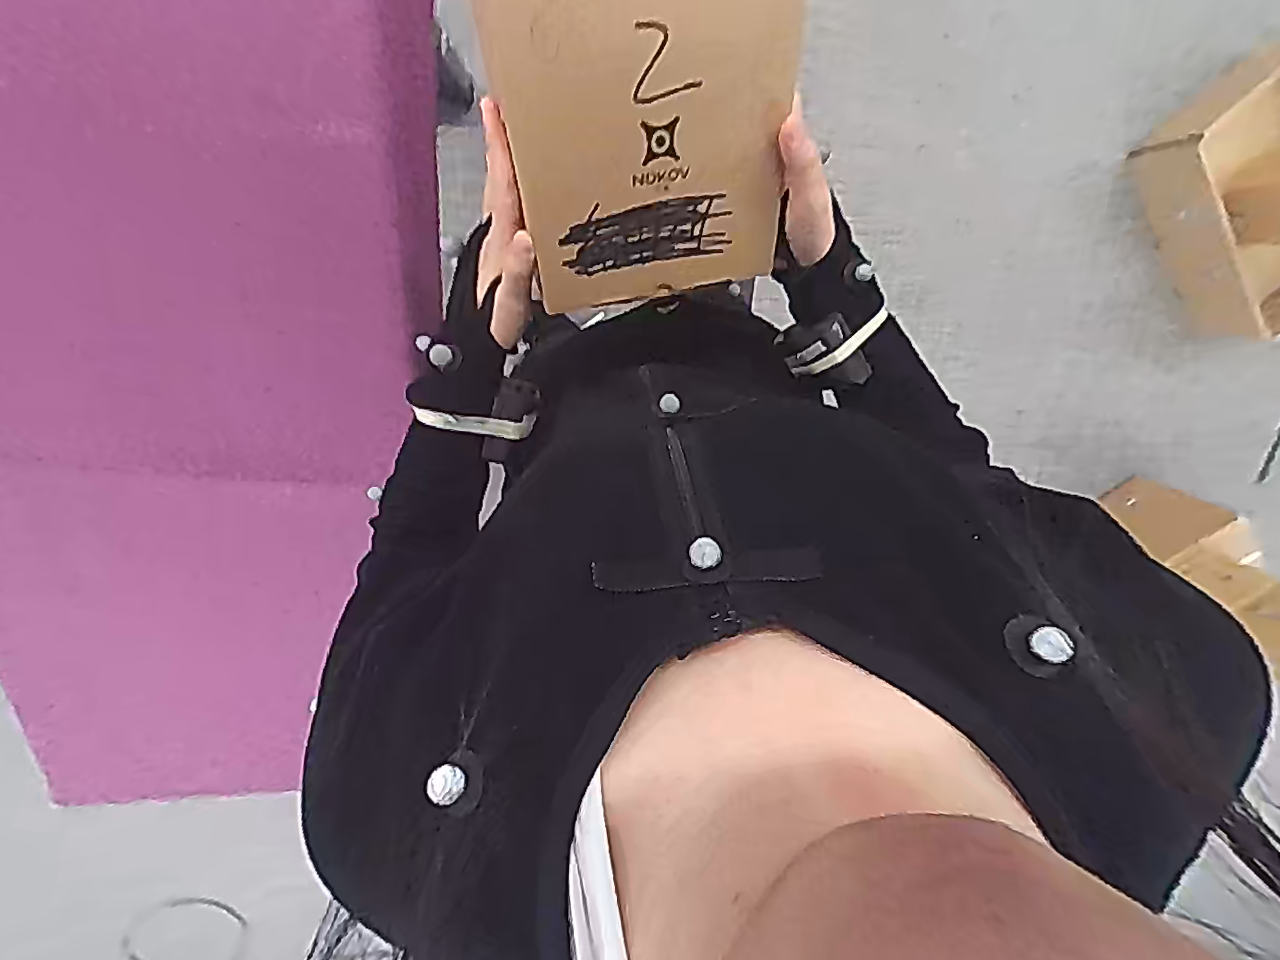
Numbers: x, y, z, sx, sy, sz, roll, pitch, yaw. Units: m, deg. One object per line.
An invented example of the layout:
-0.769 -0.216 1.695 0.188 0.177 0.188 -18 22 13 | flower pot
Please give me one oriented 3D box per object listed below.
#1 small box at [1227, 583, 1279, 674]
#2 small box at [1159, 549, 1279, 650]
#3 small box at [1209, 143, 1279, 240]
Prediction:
1.579 0.371 1.295 0.168 0.176 0.179 -37 110 8 | small box
1.553 0.307 1.445 0.168 0.176 0.179 -37 111 8 | small box
1.584 -0.718 1.330 0.179 0.176 0.168 -38 110 8 | small box
